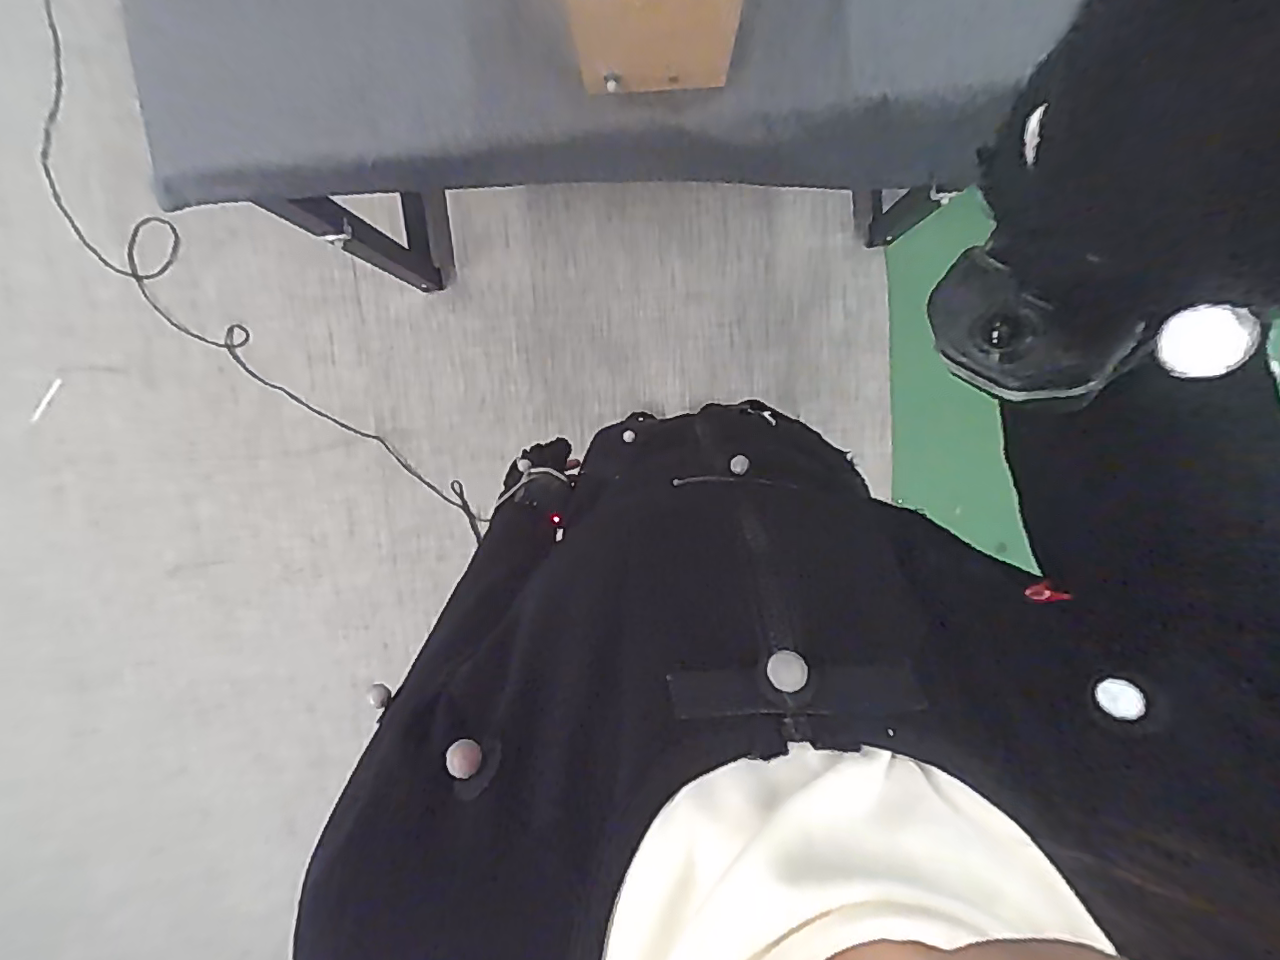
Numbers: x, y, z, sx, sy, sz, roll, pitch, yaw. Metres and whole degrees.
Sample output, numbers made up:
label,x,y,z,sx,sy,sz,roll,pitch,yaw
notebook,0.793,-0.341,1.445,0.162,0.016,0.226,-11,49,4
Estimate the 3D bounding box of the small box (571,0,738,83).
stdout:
label,x,y,z,sx,sy,sz,roll,pitch,yaw
small box,0.016,-0.544,0.556,0.168,0.176,0.179,-1,96,1
